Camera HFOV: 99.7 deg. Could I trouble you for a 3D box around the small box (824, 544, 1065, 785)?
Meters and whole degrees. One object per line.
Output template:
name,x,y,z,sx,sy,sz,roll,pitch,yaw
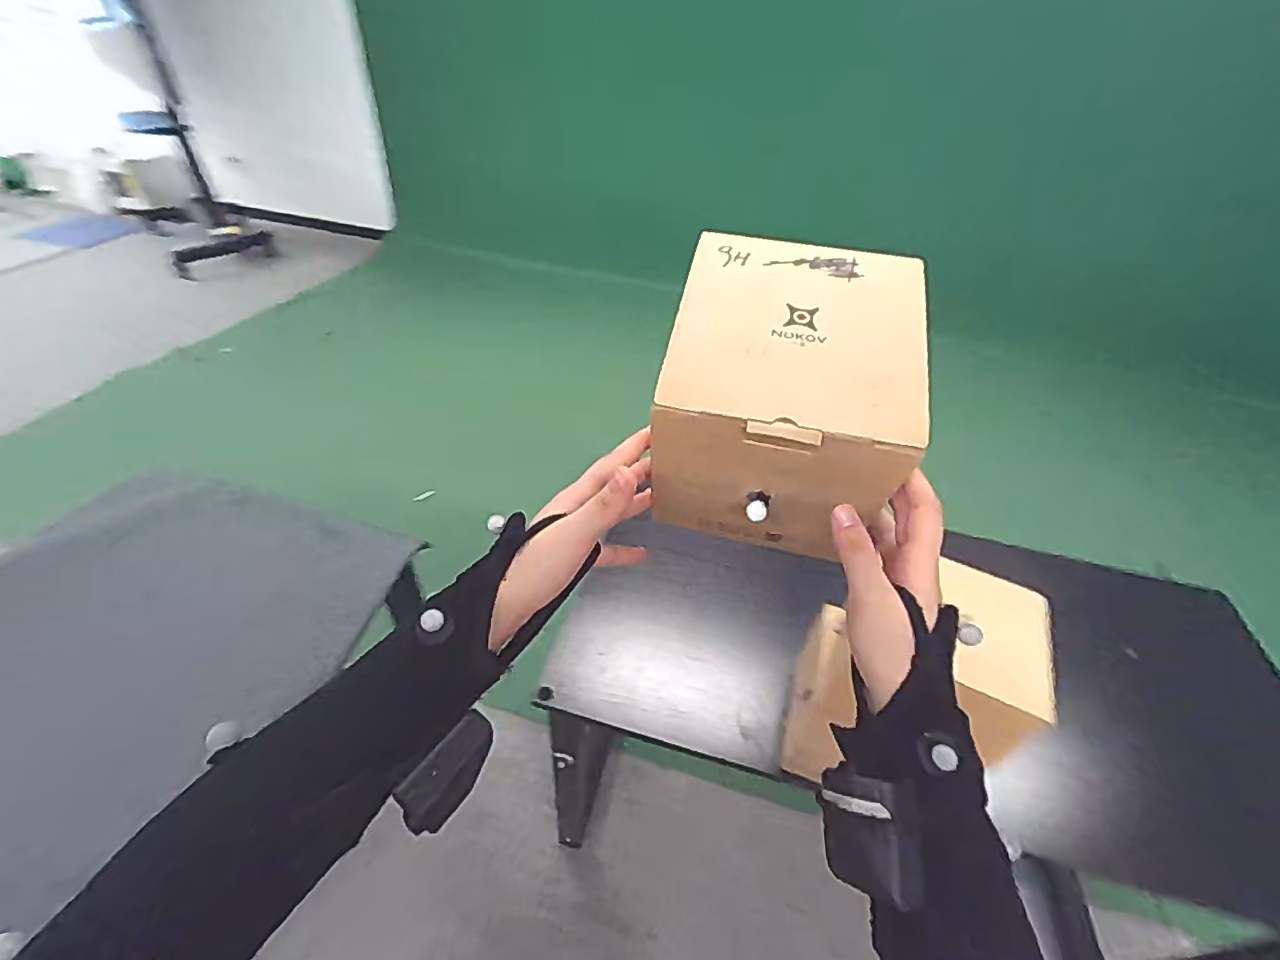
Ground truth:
small box,0.333,0.210,0.612,0.179,0.176,0.168,22,44,18

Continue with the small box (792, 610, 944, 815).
small box,0.315,0.317,0.736,0.168,0.176,0.179,17,42,12

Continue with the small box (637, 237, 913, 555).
small box,0.099,-0.058,0.429,0.168,0.176,0.179,10,61,8
